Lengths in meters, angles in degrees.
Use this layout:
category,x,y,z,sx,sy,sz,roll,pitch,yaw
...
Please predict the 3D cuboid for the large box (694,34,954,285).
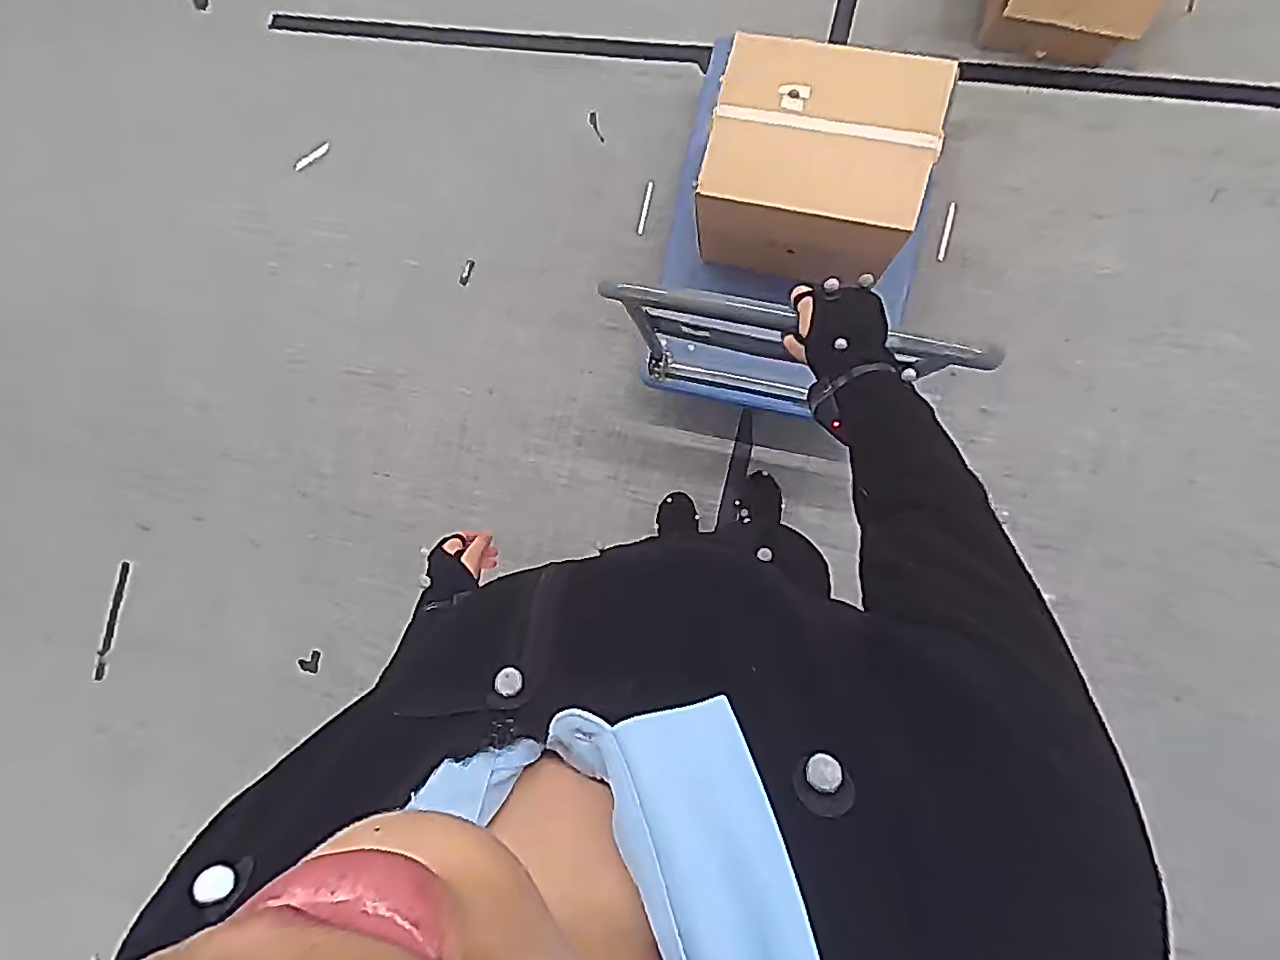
category,x,y,z,sx,sy,sz,roll,pitch,yaw
large box,0.352,-0.636,1.124,0.408,0.320,0.320,14,90,10
